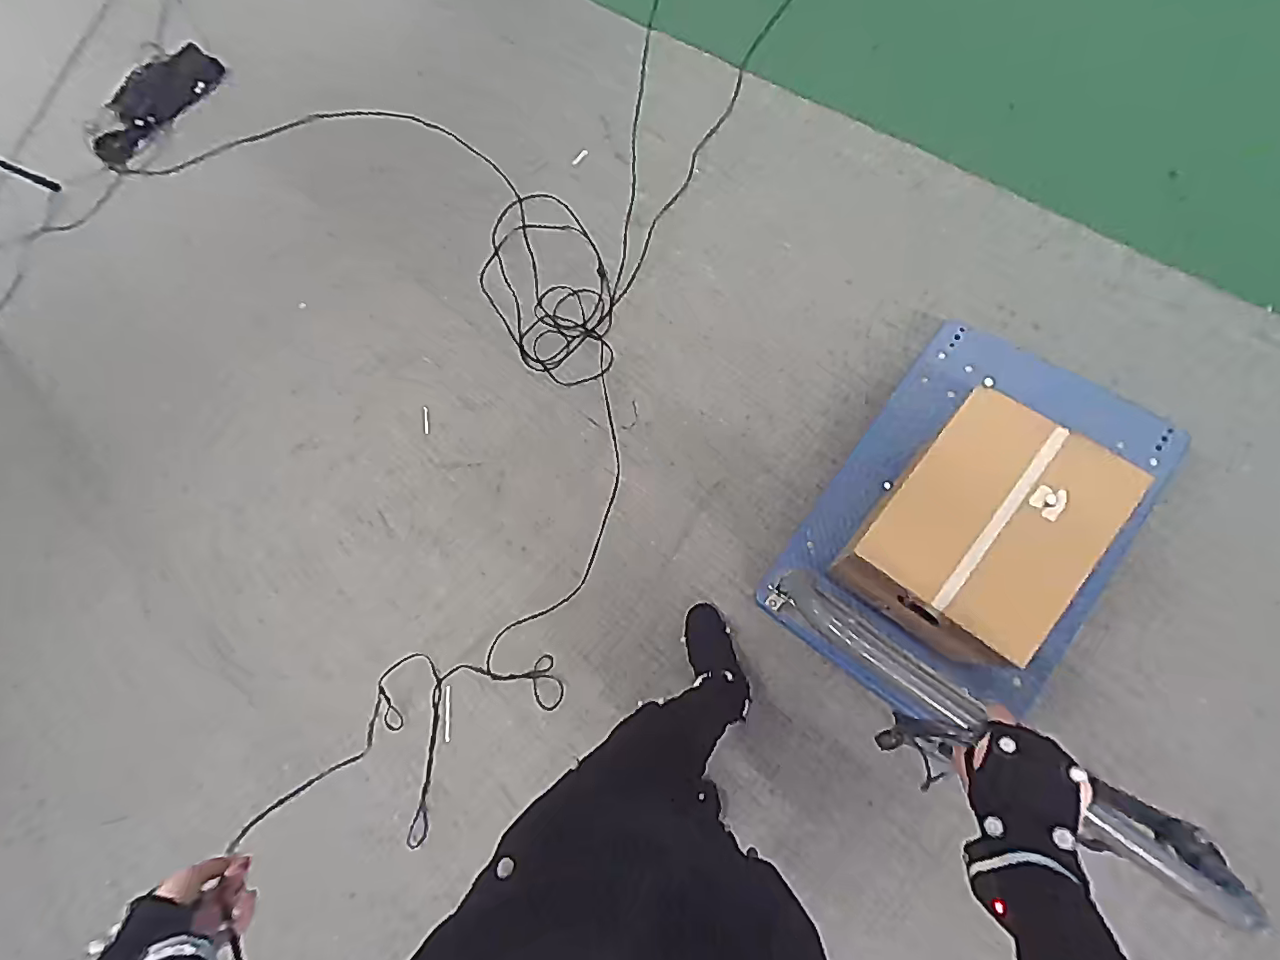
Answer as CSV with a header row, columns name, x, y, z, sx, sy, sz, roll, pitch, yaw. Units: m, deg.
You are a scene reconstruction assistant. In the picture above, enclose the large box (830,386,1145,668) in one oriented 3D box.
name,x,y,z,sx,sy,sz,roll,pitch,yaw
large box,0.635,0.107,1.065,0.320,0.320,0.408,38,83,17
